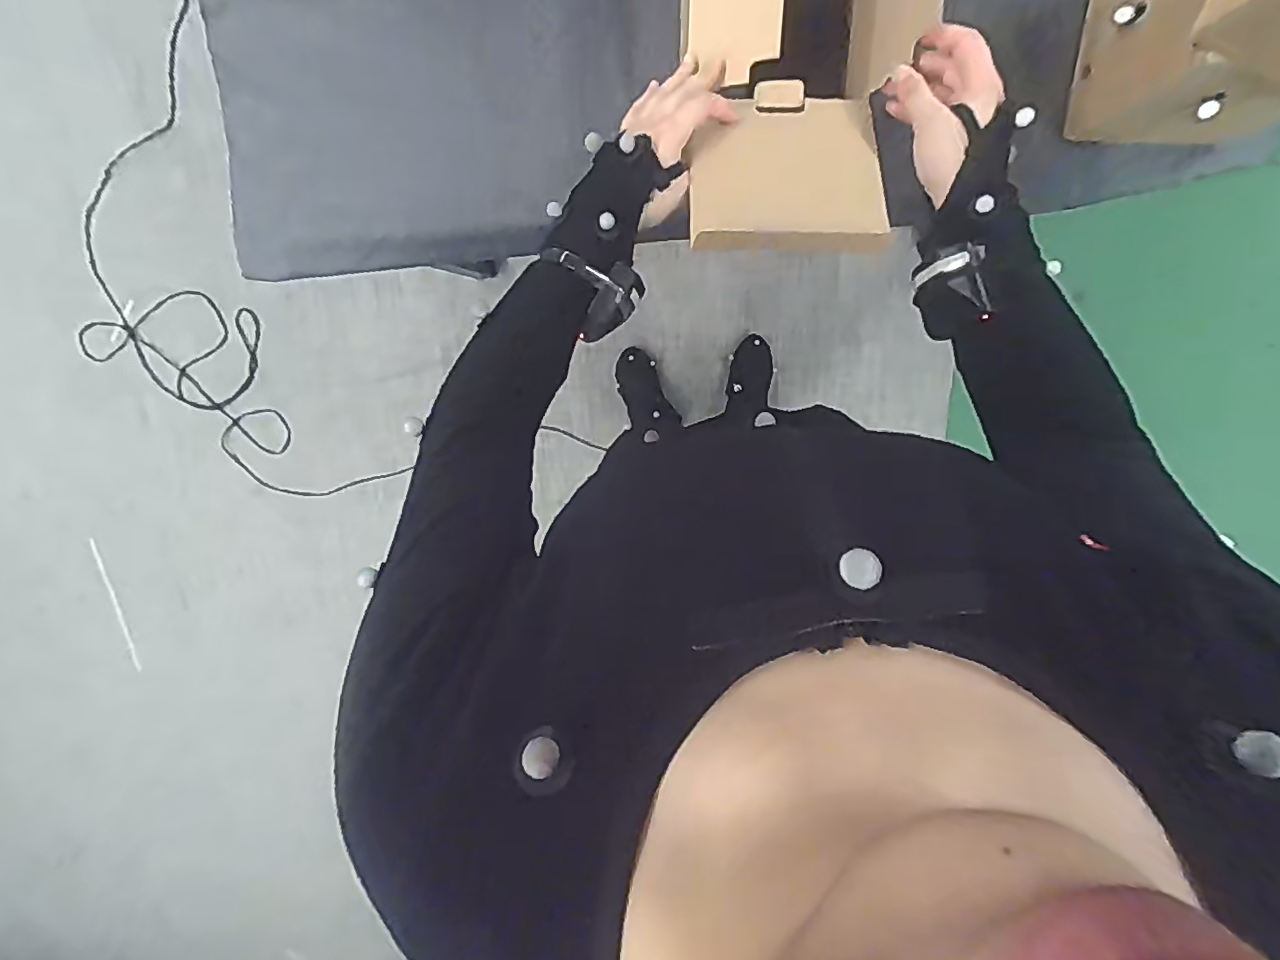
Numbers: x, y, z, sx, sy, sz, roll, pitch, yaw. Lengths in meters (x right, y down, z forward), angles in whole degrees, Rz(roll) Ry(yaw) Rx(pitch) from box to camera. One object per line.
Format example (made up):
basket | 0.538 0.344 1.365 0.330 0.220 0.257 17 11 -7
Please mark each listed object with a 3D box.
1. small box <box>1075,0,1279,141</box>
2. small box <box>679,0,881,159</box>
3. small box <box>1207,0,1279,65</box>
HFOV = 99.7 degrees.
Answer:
small box | 0.562 -0.438 0.504 0.179 0.176 0.168 3 103 4
small box | 0.126 -0.438 0.536 0.168 0.176 0.179 0 103 1
small box | 0.556 -0.385 0.349 0.179 0.176 0.168 24 103 -3
